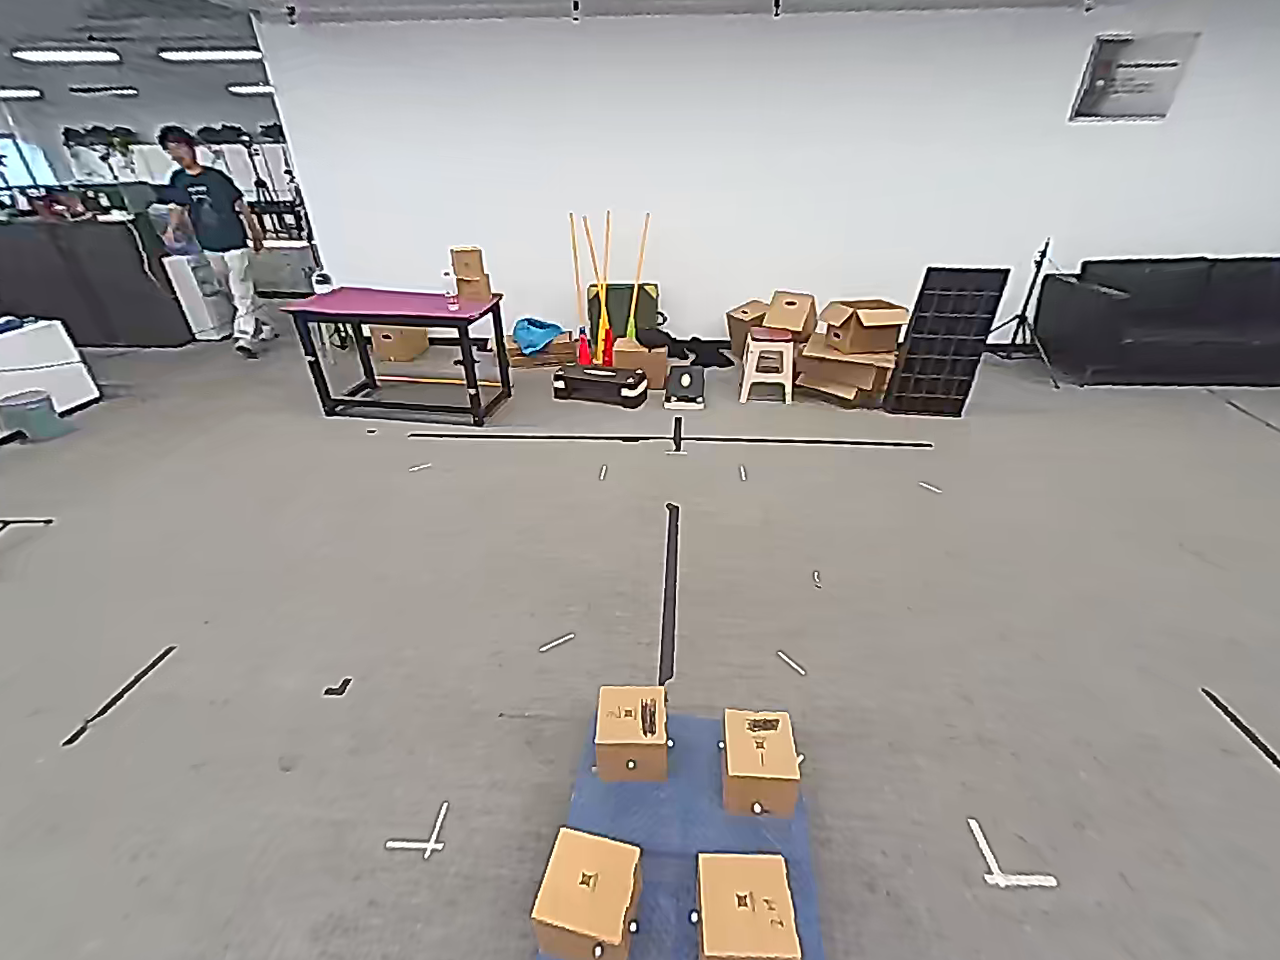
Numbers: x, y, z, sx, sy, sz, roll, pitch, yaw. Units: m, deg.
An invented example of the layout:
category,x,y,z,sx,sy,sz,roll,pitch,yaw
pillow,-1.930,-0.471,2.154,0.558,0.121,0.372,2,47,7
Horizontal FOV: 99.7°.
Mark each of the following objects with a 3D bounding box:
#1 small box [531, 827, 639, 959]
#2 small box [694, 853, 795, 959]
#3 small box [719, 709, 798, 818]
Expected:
category,x,y,z,sx,sy,sz,roll,pitch,yaw
small box,-0.106,0.858,1.108,0.179,0.176,0.168,8,31,11
small box,0.197,0.875,1.074,0.179,0.176,0.168,1,31,2
small box,0.288,0.707,1.353,0.168,0.176,0.179,2,32,4
